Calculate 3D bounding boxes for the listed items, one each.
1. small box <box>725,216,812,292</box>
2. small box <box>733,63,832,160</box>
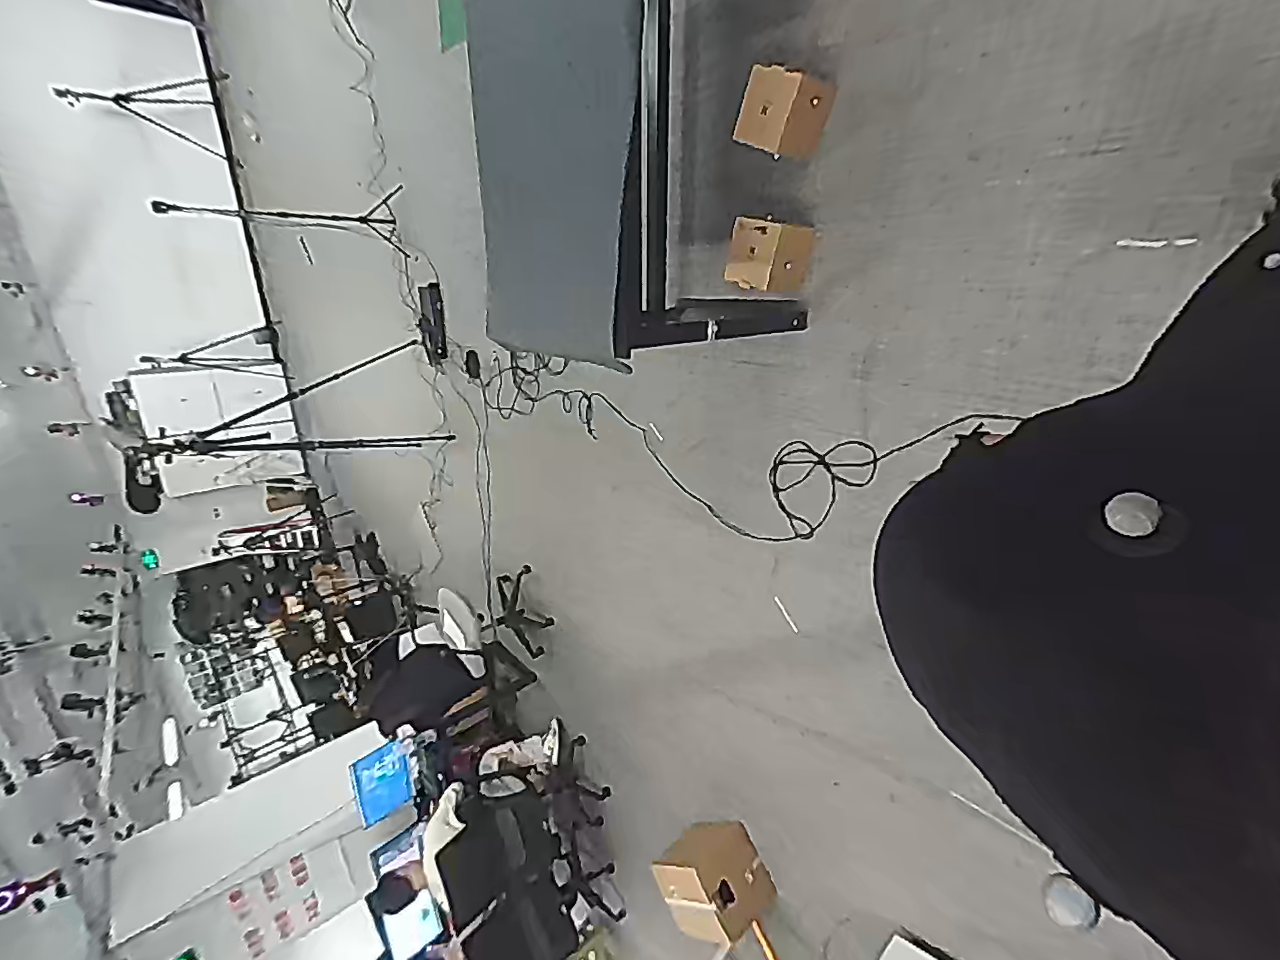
[{"bbox_3d":[0.379,-0.664,1.585,0.168,0.176,0.179,34,129,38],"label":"small box"},{"bbox_3d":[0.385,-0.985,1.453,0.168,0.176,0.179,43,134,33],"label":"small box"}]
